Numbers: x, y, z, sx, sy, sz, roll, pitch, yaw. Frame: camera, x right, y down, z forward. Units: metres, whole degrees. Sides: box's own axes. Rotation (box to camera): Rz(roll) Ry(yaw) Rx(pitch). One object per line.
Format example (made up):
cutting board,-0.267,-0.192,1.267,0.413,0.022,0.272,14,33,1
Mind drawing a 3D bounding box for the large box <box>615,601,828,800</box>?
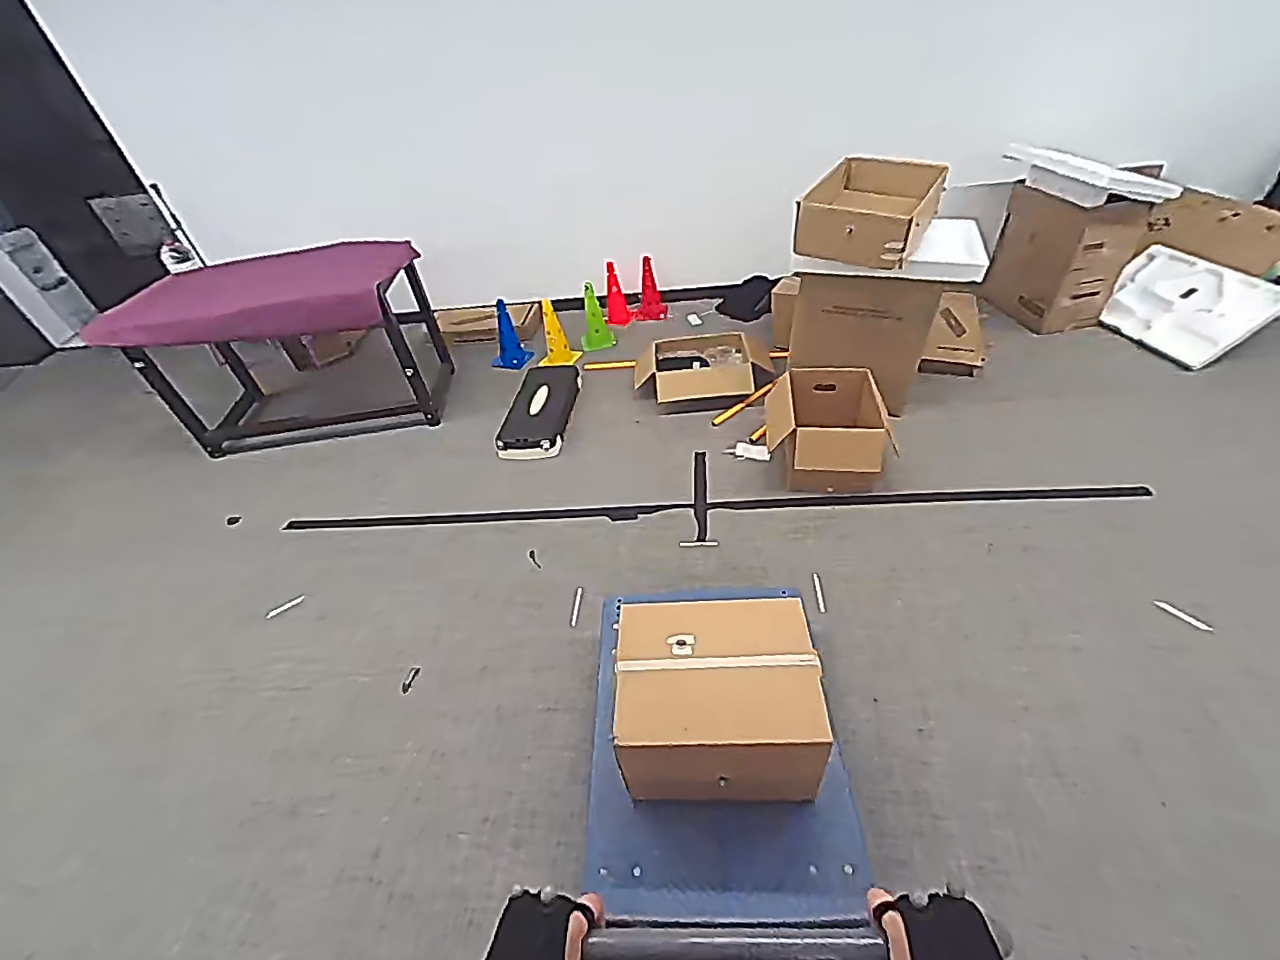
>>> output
large box,0.170,0.500,1.216,0.408,0.320,0.320,-5,41,6
